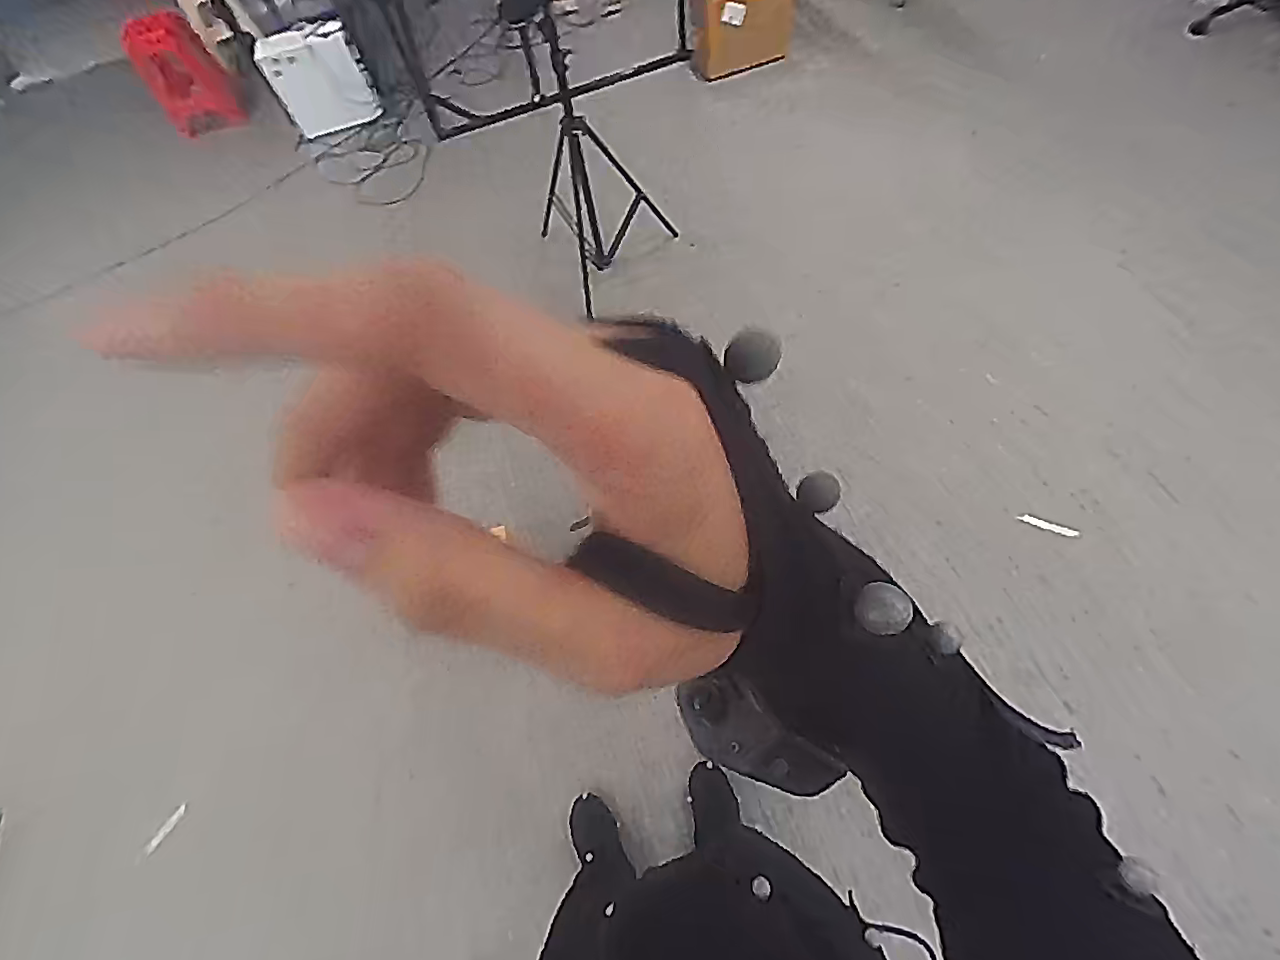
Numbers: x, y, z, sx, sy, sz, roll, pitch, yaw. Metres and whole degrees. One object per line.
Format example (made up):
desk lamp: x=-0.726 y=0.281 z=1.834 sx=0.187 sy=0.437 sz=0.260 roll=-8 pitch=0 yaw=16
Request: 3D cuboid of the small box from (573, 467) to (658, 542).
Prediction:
small box: x=-0.062 y=0.038 z=1.430 sx=0.168 sy=0.176 sz=0.179 roll=-22 pitch=62 yaw=-4

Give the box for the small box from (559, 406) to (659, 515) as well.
small box: x=-0.066 y=-0.037 z=1.282 sx=0.168 sy=0.176 sz=0.179 roll=-28 pitch=64 yaw=-8
